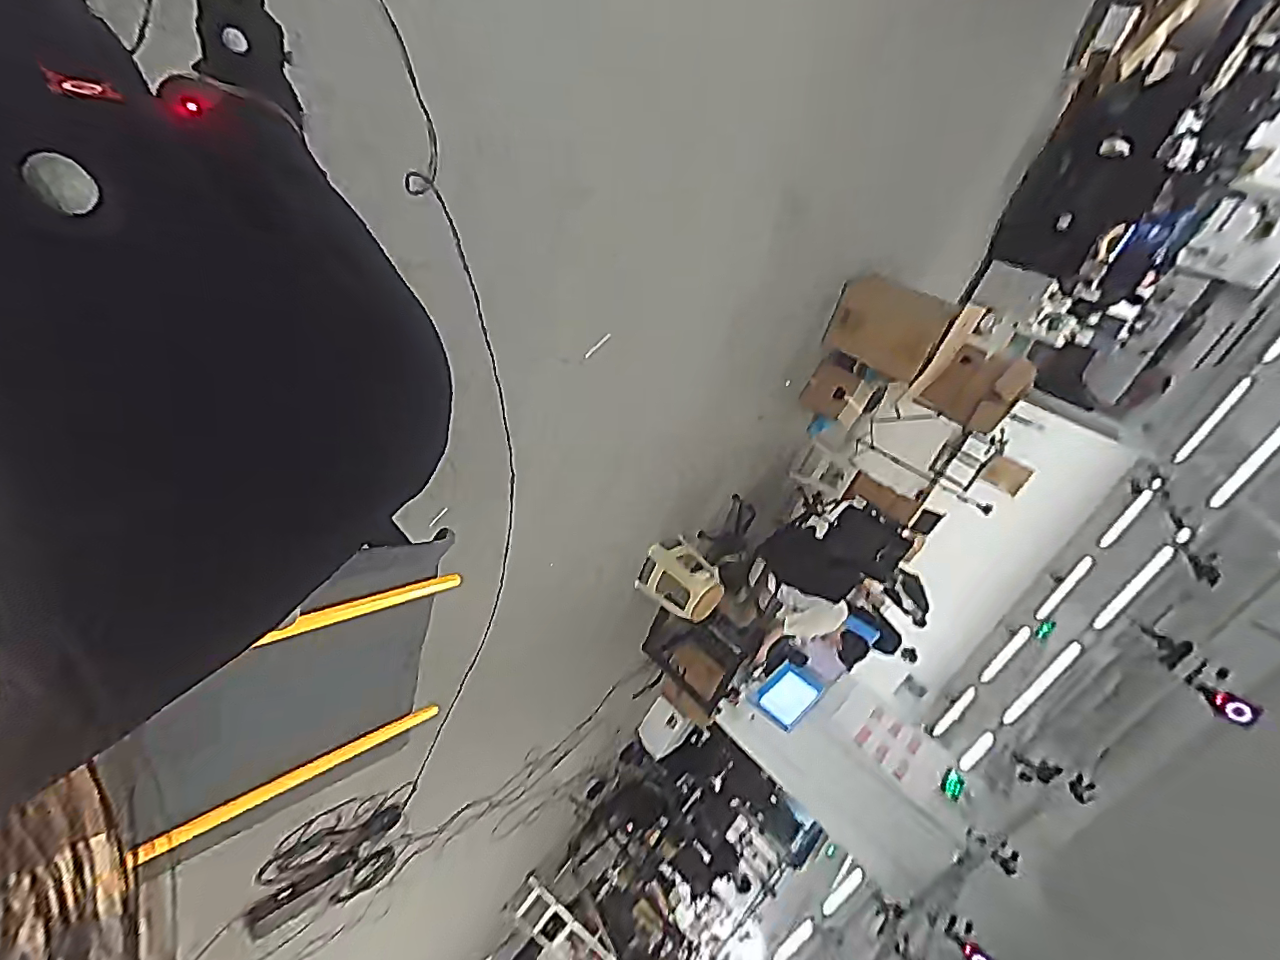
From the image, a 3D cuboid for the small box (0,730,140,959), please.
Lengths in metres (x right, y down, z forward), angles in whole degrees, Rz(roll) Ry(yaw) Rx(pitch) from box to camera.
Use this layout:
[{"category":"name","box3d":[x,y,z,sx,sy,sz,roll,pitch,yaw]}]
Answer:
[{"category":"small box","box3d":[-0.767,0.461,0.681,0.168,0.176,0.179,-17,133,-48]}]
